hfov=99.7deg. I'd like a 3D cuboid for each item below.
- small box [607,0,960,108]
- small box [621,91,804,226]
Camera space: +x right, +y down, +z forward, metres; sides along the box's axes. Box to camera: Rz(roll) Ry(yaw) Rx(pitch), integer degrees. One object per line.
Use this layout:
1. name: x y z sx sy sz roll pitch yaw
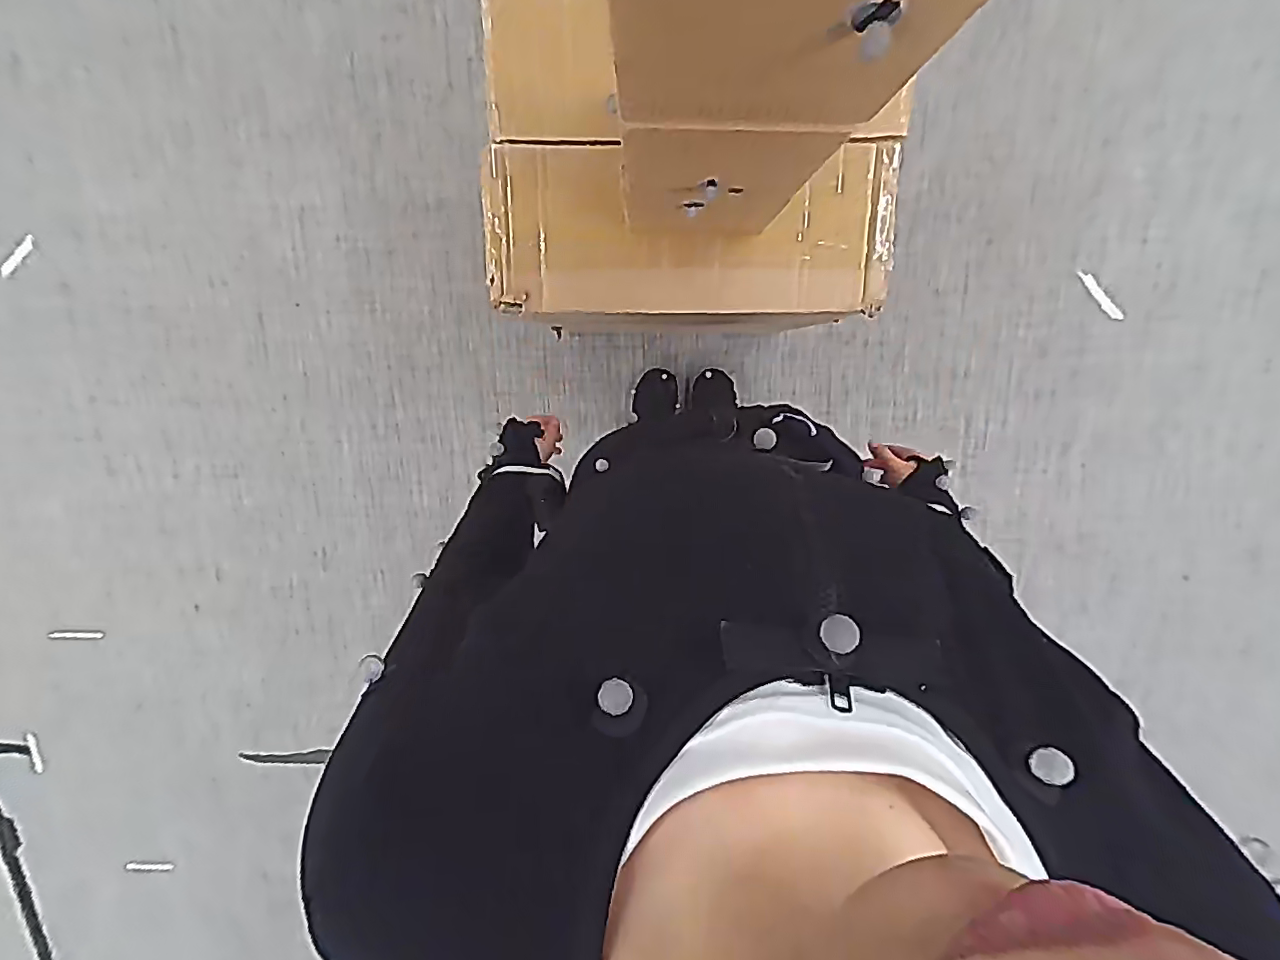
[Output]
1. small box: 0.073 -0.314 0.271 0.179 0.176 0.168 1 103 1
2. small box: 0.073 -0.387 0.592 0.179 0.176 0.168 2 103 0
